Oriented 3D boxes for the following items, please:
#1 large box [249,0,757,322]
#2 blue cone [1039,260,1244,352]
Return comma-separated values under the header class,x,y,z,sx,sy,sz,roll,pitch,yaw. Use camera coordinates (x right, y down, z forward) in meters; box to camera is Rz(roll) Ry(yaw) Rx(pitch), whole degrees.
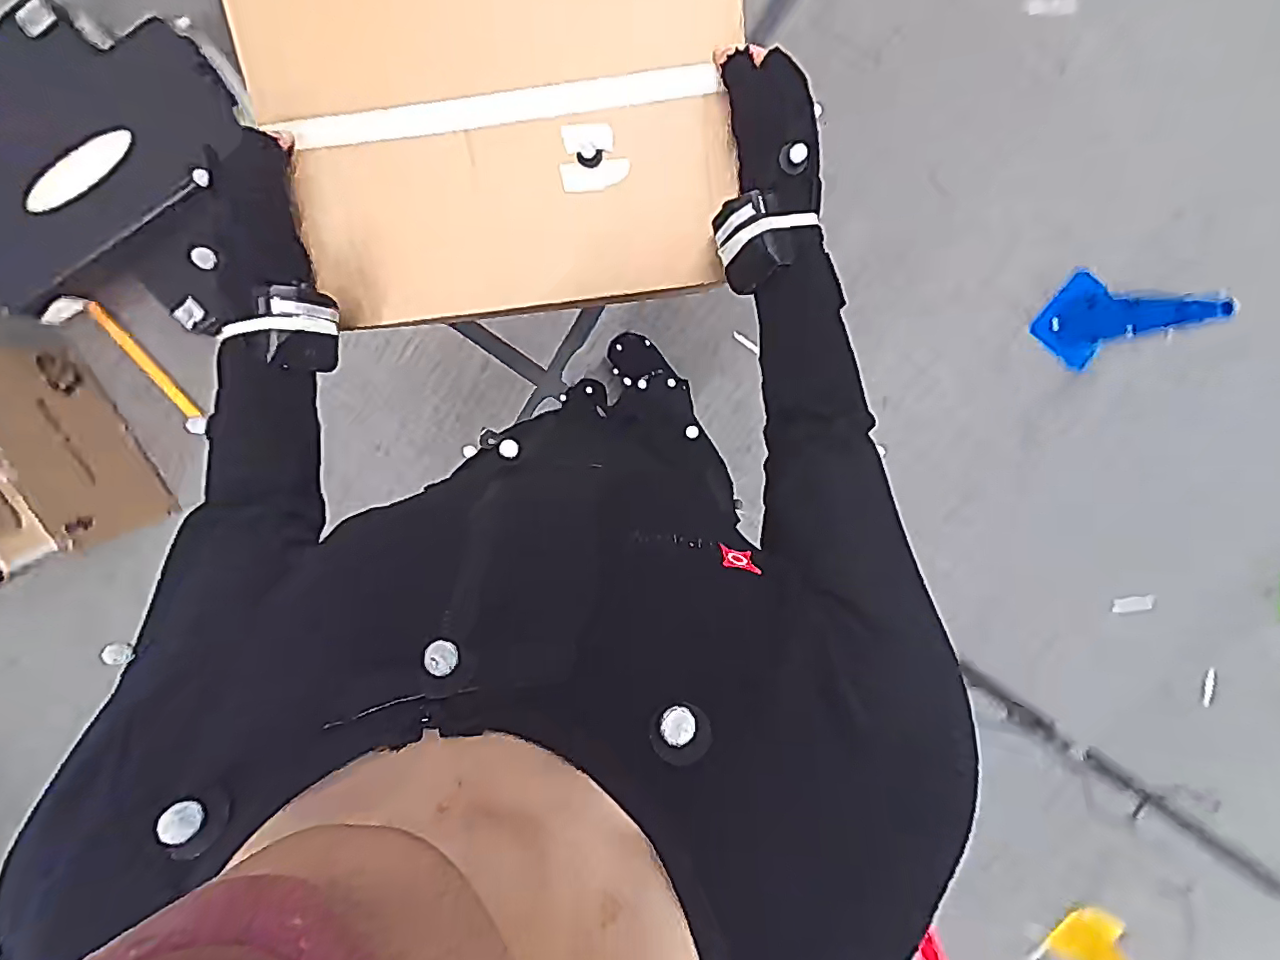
class,x,y,z,sx,sy,sz,roll,pitch,yaw
large box,-0.111,-0.357,0.597,0.408,0.320,0.320,-6,108,0
blue cone,1.152,-0.414,1.239,0.193,0.380,0.192,36,99,-8
